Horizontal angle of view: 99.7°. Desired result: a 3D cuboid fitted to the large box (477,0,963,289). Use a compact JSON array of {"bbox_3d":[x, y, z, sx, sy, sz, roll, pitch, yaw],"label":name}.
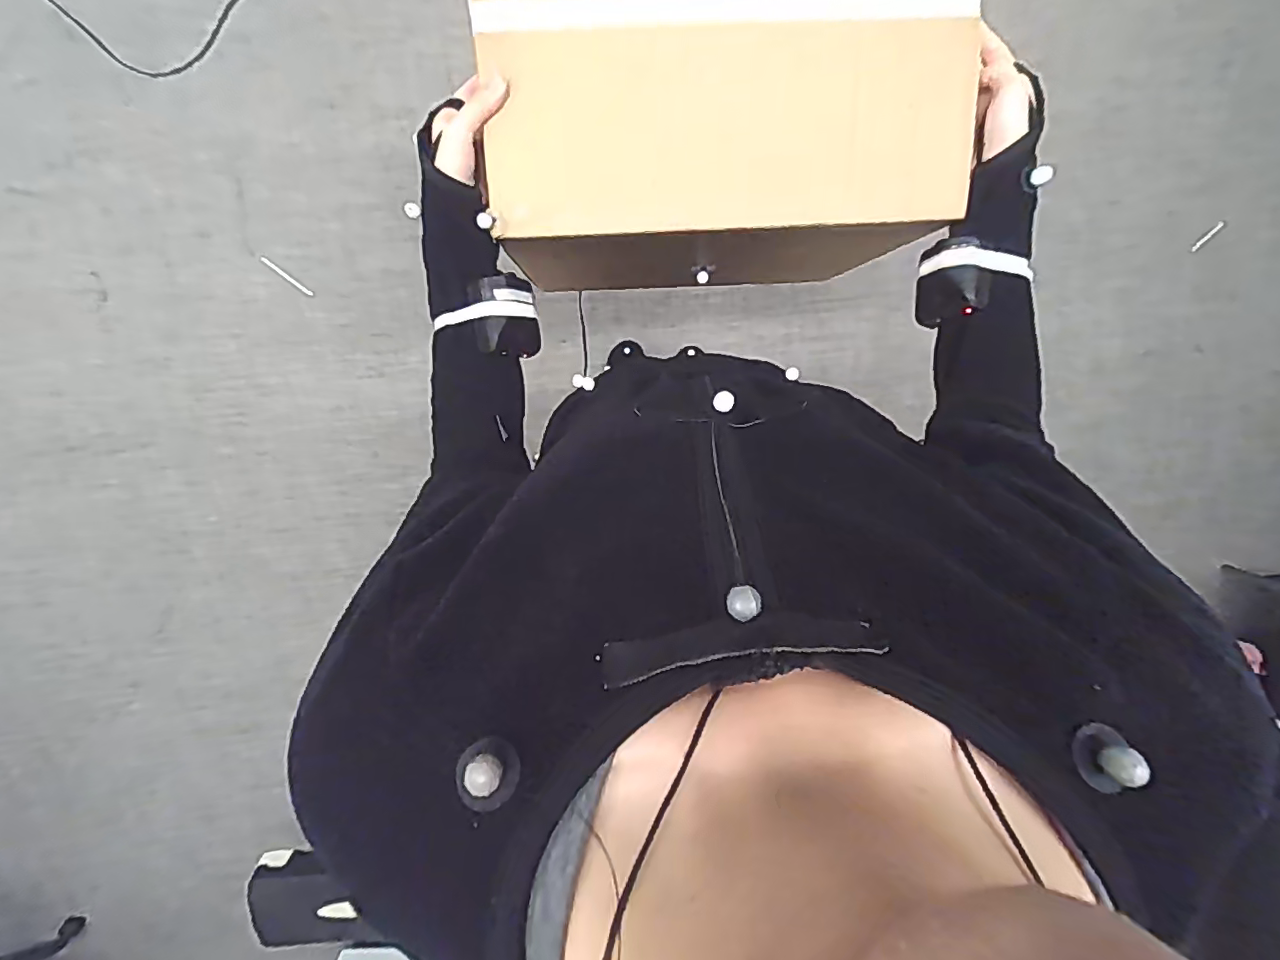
[{"bbox_3d":[0.065,-0.398,0.589,0.408,0.320,0.320,-3,100,-1],"label":"large box"}]
